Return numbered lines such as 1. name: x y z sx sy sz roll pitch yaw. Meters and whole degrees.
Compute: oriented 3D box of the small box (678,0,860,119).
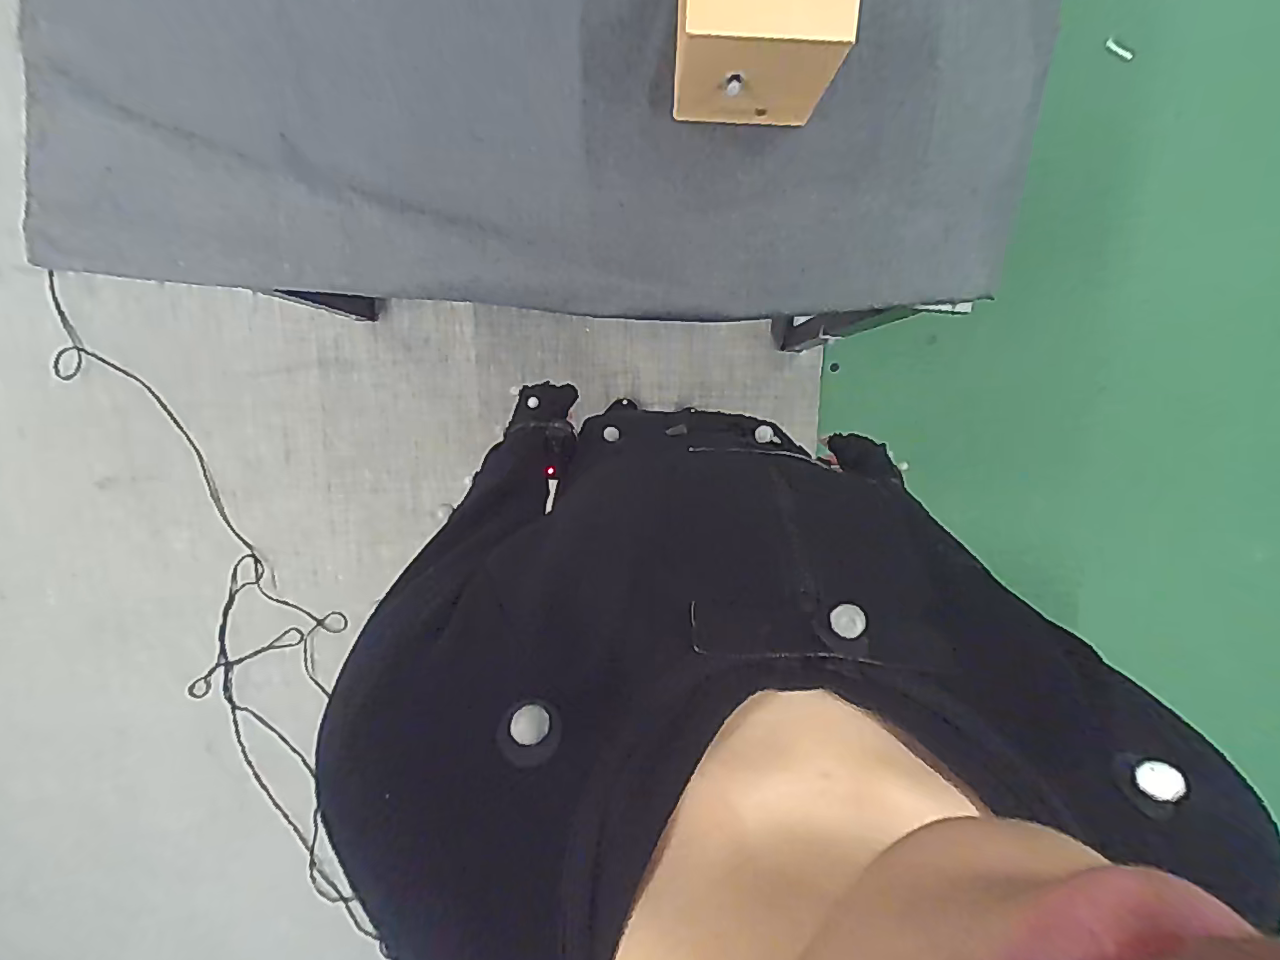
1. small box: 0.130 -0.519 0.577 0.168 0.176 0.179 3 98 0
